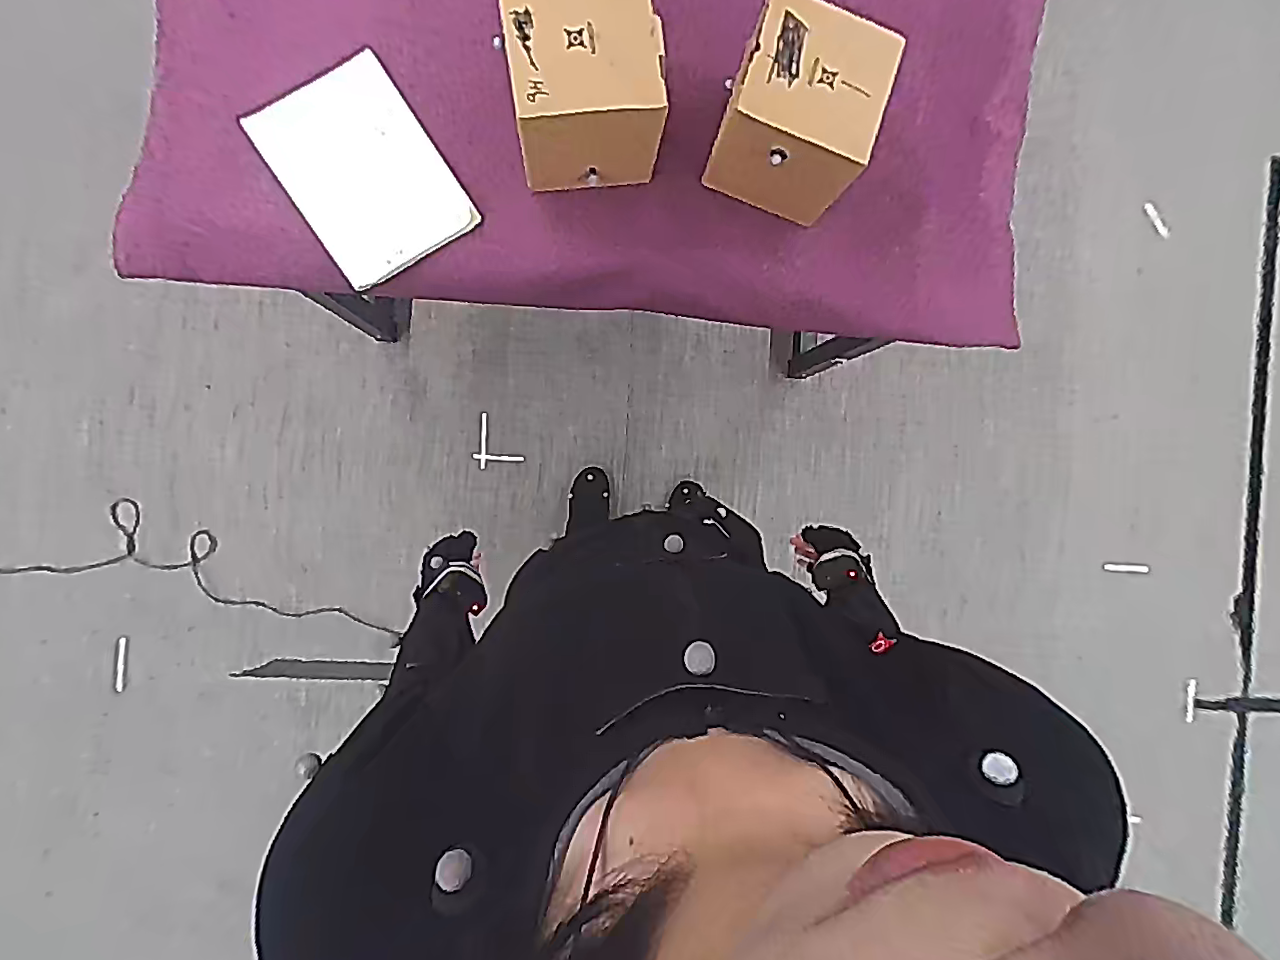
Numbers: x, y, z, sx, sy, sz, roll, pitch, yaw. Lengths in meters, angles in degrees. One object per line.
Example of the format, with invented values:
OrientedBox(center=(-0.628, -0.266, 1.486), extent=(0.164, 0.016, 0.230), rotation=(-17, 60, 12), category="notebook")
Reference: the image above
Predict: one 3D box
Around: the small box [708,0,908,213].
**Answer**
OrientedBox(center=(0.205, -0.487, 0.711), extent=(0.179, 0.176, 0.168), rotation=(18, 88, -6), category="small box")

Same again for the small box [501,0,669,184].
OrientedBox(center=(-0.073, -0.502, 0.683), extent=(0.179, 0.176, 0.168), rotation=(-9, 91, -6), category="small box")
